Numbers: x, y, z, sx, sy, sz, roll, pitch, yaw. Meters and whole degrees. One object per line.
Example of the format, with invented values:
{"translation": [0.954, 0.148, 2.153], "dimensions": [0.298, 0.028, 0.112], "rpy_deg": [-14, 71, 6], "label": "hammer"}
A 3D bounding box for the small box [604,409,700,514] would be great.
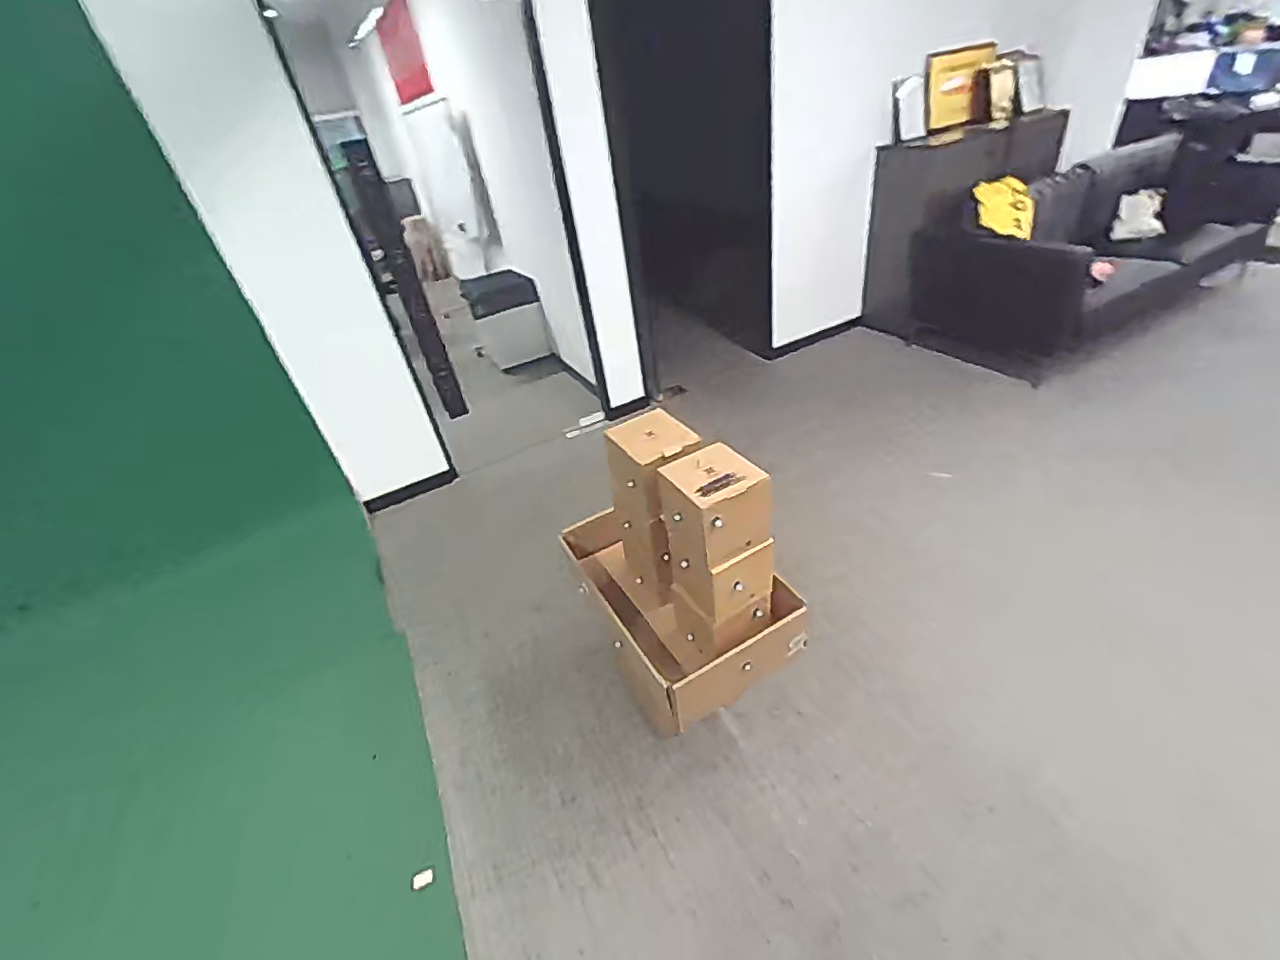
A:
{"translation": [0.033, -0.040, 1.306], "dimensions": [0.168, 0.176, 0.179], "rpy_deg": [-25, 41, -21], "label": "small box"}

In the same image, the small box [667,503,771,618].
{"translation": [0.183, 0.189, 1.240], "dimensions": [0.168, 0.176, 0.179], "rpy_deg": [-25, 38, -21], "label": "small box"}

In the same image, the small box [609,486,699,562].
{"translation": [0.044, 0.090, 1.405], "dimensions": [0.168, 0.176, 0.179], "rpy_deg": [-27, 42, -23], "label": "small box"}
